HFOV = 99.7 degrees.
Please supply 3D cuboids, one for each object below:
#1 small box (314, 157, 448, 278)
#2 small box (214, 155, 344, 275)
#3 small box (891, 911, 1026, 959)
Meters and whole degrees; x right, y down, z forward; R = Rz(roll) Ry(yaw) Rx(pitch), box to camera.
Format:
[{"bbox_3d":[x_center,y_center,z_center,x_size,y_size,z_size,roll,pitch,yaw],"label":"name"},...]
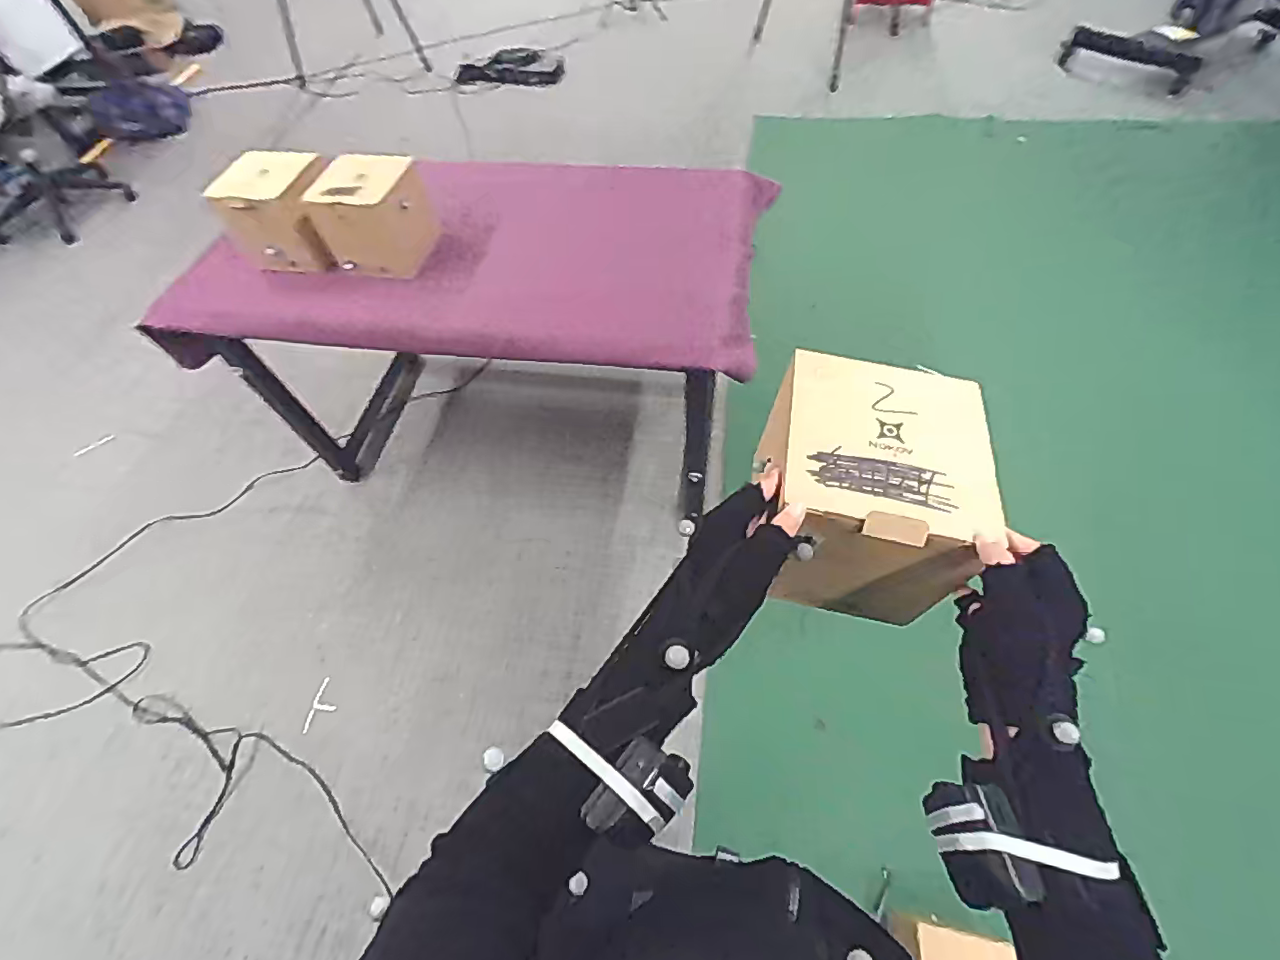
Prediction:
[{"bbox_3d":[-0.536,-0.549,1.148,0.168,0.176,0.179,3,61,11],"label":"small box"},{"bbox_3d":[-0.752,-0.575,1.176,0.168,0.176,0.179,6,59,9],"label":"small box"},{"bbox_3d":[0.578,0.917,0.987,0.179,0.176,0.168,7,59,10],"label":"small box"}]
